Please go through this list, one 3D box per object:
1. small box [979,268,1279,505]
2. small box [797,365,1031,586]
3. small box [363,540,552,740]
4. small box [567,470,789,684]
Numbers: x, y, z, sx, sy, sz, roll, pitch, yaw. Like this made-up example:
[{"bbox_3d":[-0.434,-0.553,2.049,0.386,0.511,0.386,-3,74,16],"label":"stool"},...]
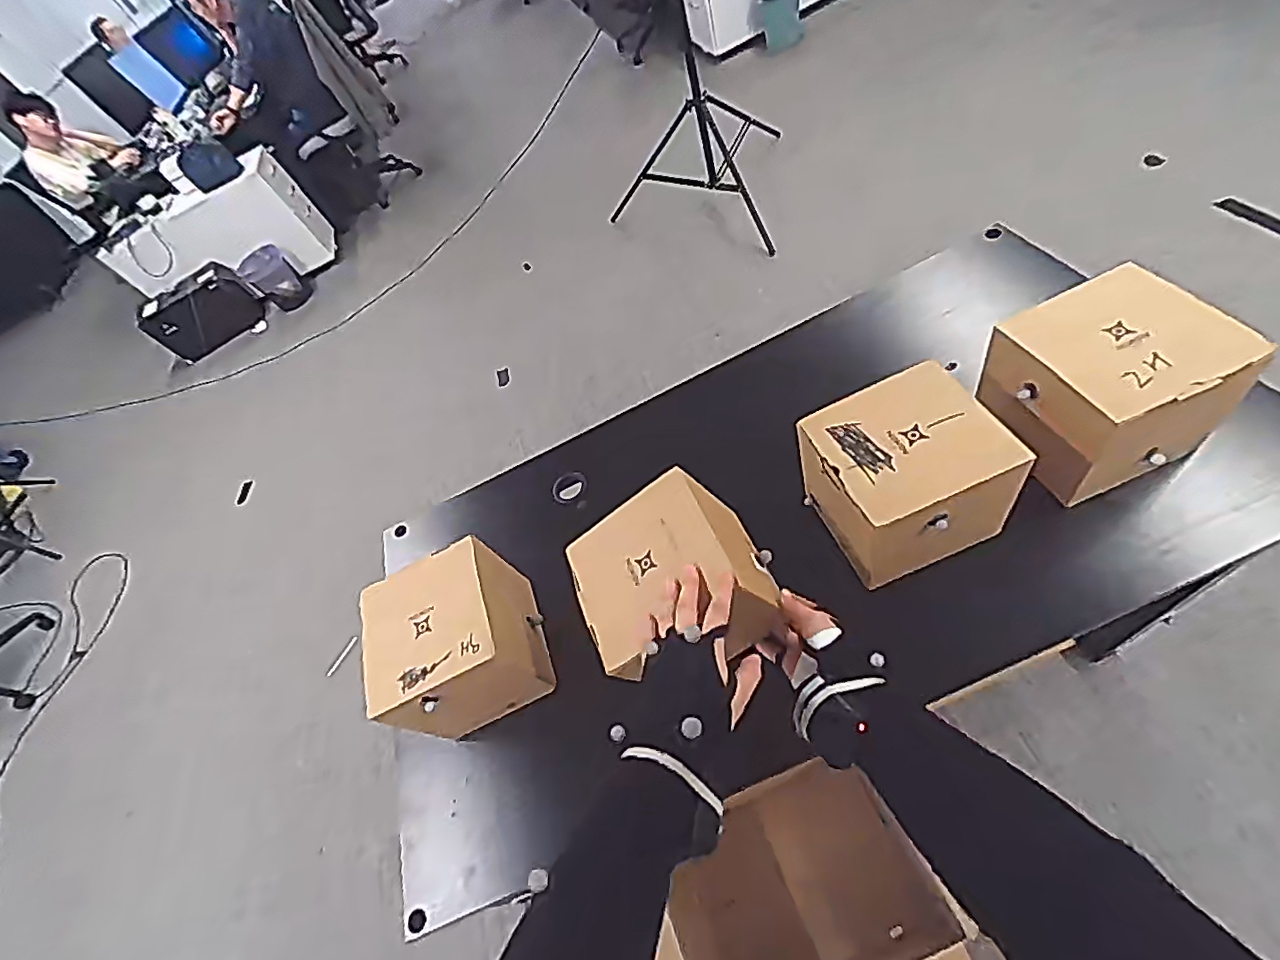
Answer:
[{"bbox_3d":[0.531,-0.103,0.630,0.168,0.176,0.179,-25,52,5],"label":"small box"},{"bbox_3d":[0.310,0.003,0.647,0.179,0.176,0.168,-24,53,3],"label":"small box"},{"bbox_3d":[-0.237,0.215,0.716,0.168,0.176,0.179,-26,52,2],"label":"small box"},{"bbox_3d":[0.046,0.125,0.644,0.179,0.176,0.168,-37,52,14],"label":"small box"}]
